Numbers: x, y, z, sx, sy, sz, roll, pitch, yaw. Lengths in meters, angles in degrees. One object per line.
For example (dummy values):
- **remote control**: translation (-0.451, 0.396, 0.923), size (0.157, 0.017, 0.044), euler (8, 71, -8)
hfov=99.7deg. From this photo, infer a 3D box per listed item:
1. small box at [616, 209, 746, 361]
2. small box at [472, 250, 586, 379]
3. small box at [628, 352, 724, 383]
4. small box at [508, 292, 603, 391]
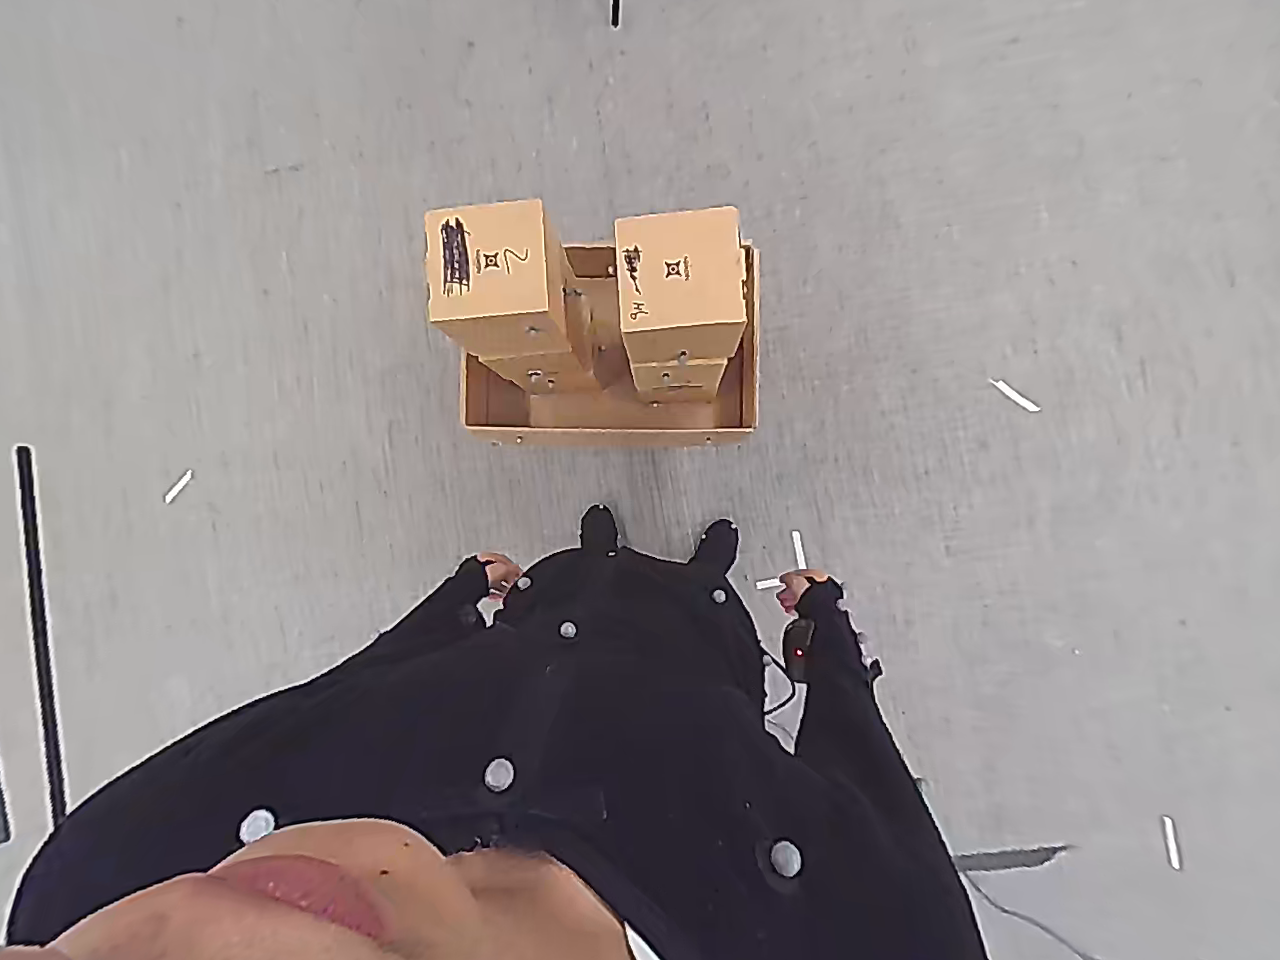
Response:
- **small box**: translation (0.059, -0.287, 0.828), size (0.179, 0.176, 0.168), euler (-3, 87, 3)
- **small box**: translation (-0.199, -0.299, 1.006), size (0.168, 0.176, 0.179), euler (-5, 87, 5)
- **small box**: translation (0.066, -0.278, 0.992), size (0.168, 0.176, 0.179), euler (-1, 87, 3)
- **small box**: translation (-0.180, -0.292, 1.169), size (0.179, 0.176, 0.168), euler (-2, 88, 3)
